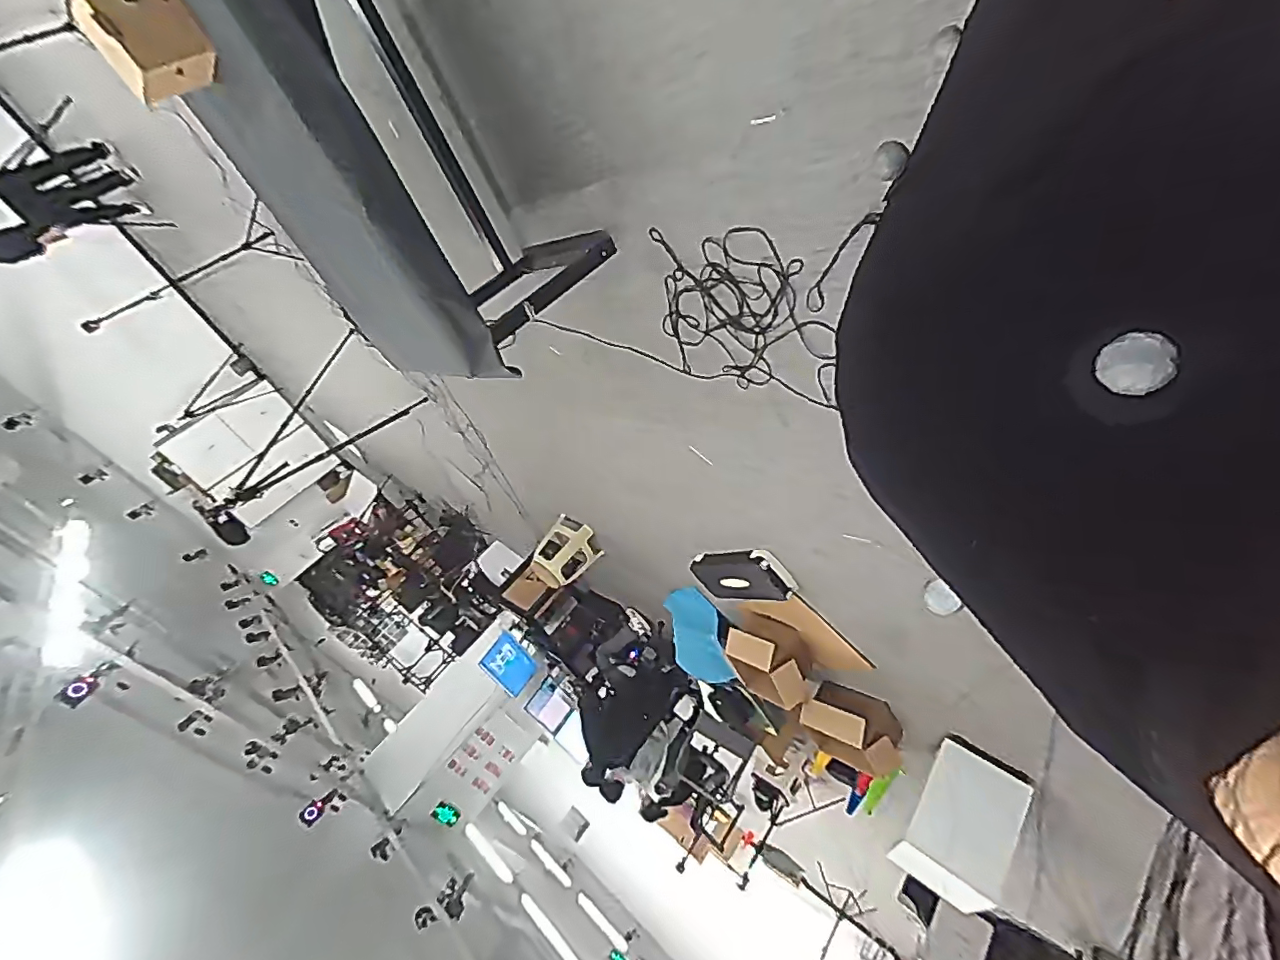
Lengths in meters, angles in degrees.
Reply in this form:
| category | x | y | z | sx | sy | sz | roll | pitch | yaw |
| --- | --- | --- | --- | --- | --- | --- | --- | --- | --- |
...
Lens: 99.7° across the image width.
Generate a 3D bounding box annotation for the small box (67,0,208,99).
| category | x | y | z | sx | sy | sz | roll | pitch | yaw |
| --- | --- | --- | --- | --- | --- | --- | --- | --- | --- |
| small box | -1.096 | -0.991 | 1.191 | 0.179 | 0.176 | 0.168 | 9 | 138 | 50 |
